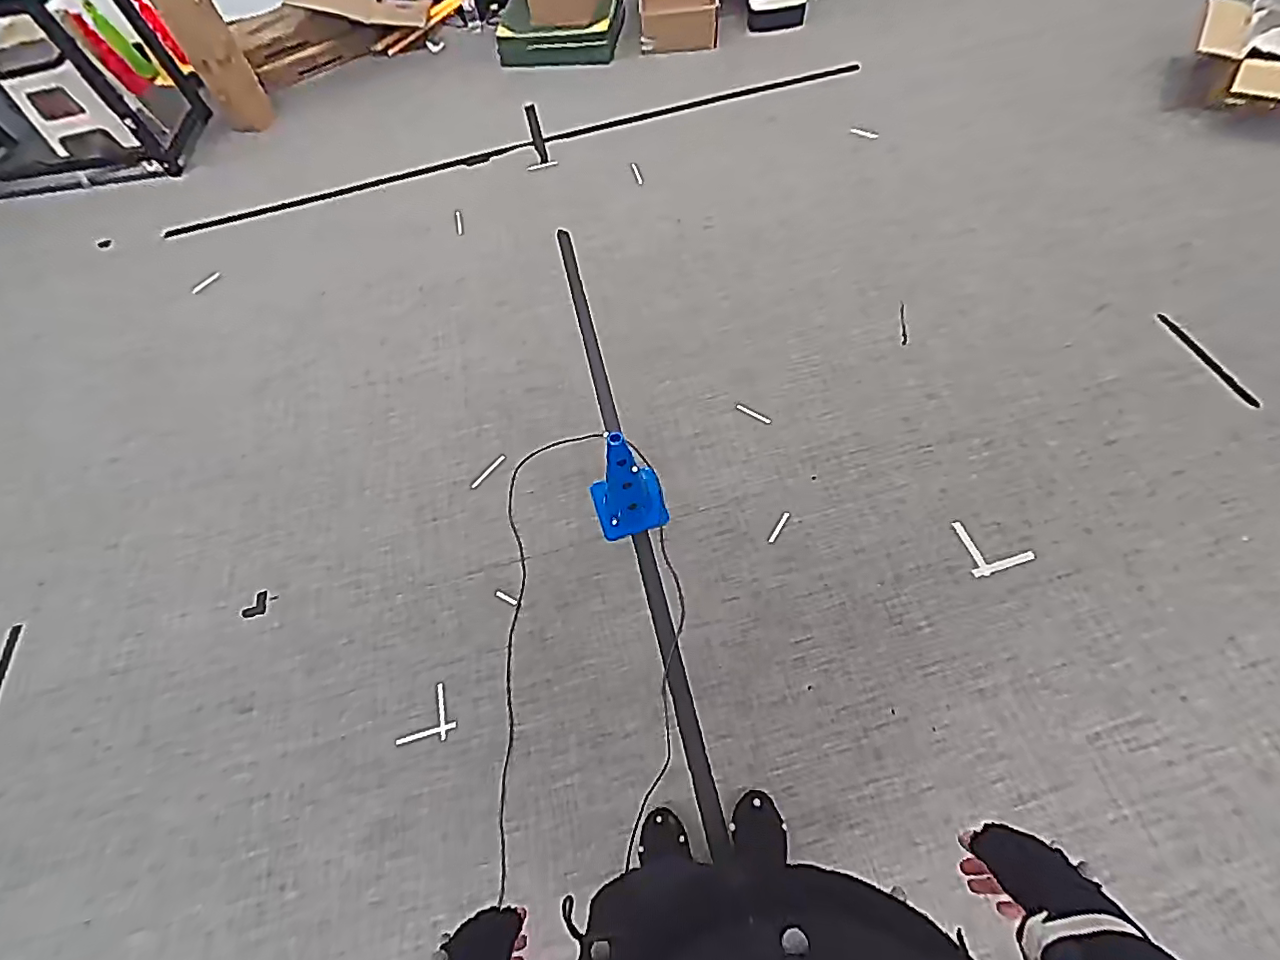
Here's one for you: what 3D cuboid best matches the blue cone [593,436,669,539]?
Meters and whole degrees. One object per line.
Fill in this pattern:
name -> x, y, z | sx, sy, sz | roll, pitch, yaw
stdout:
blue cone -> -0.037, -0.009, 1.440 | 0.192, 0.380, 0.193 | -19, 62, -5
